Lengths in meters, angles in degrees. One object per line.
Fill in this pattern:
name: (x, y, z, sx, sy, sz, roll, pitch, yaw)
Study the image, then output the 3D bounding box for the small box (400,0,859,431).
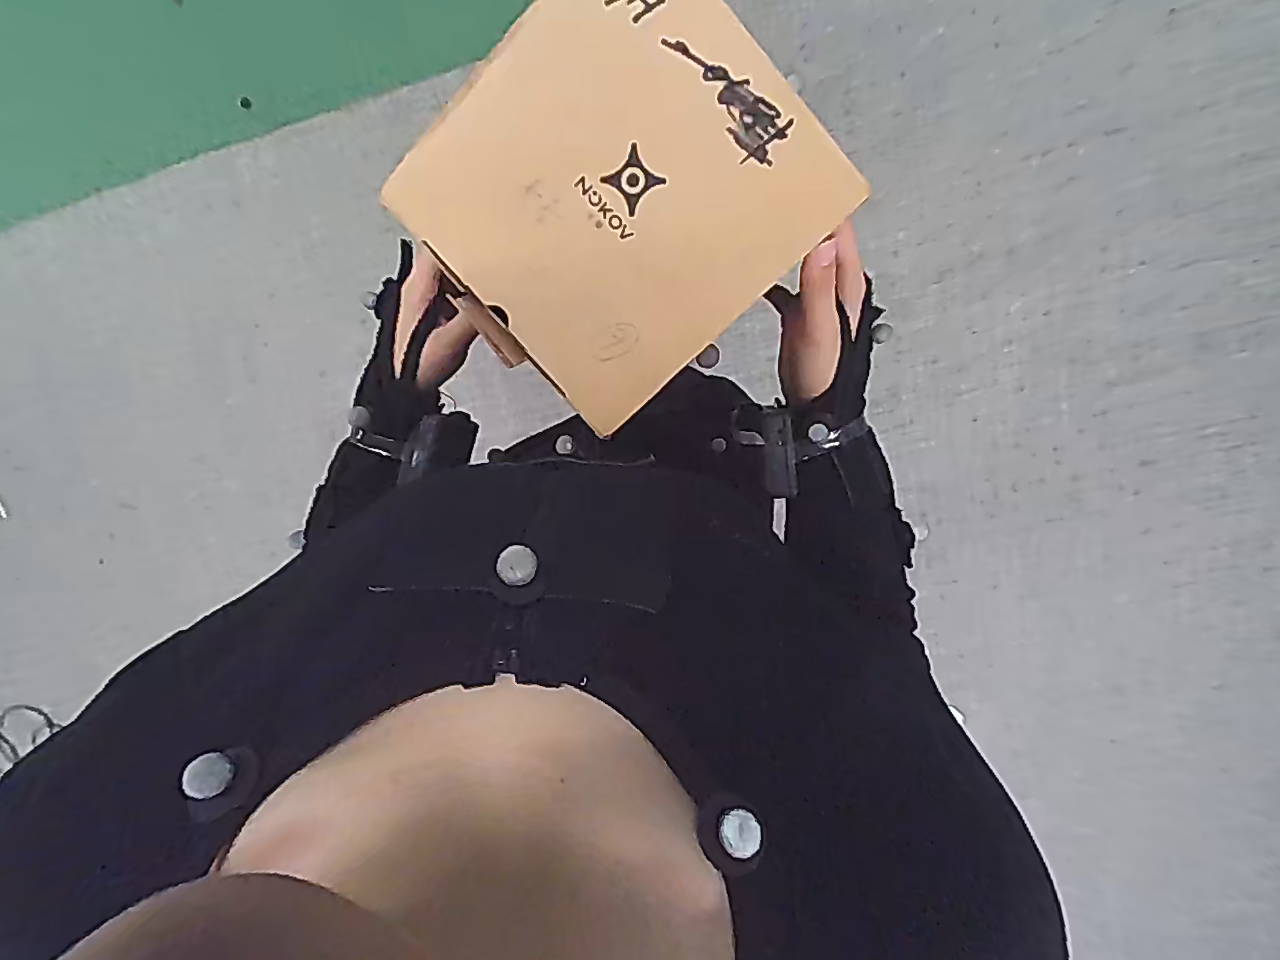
small box: (-0.002, -0.156, 0.346, 0.179, 0.176, 0.168, -41, 97, 12)
